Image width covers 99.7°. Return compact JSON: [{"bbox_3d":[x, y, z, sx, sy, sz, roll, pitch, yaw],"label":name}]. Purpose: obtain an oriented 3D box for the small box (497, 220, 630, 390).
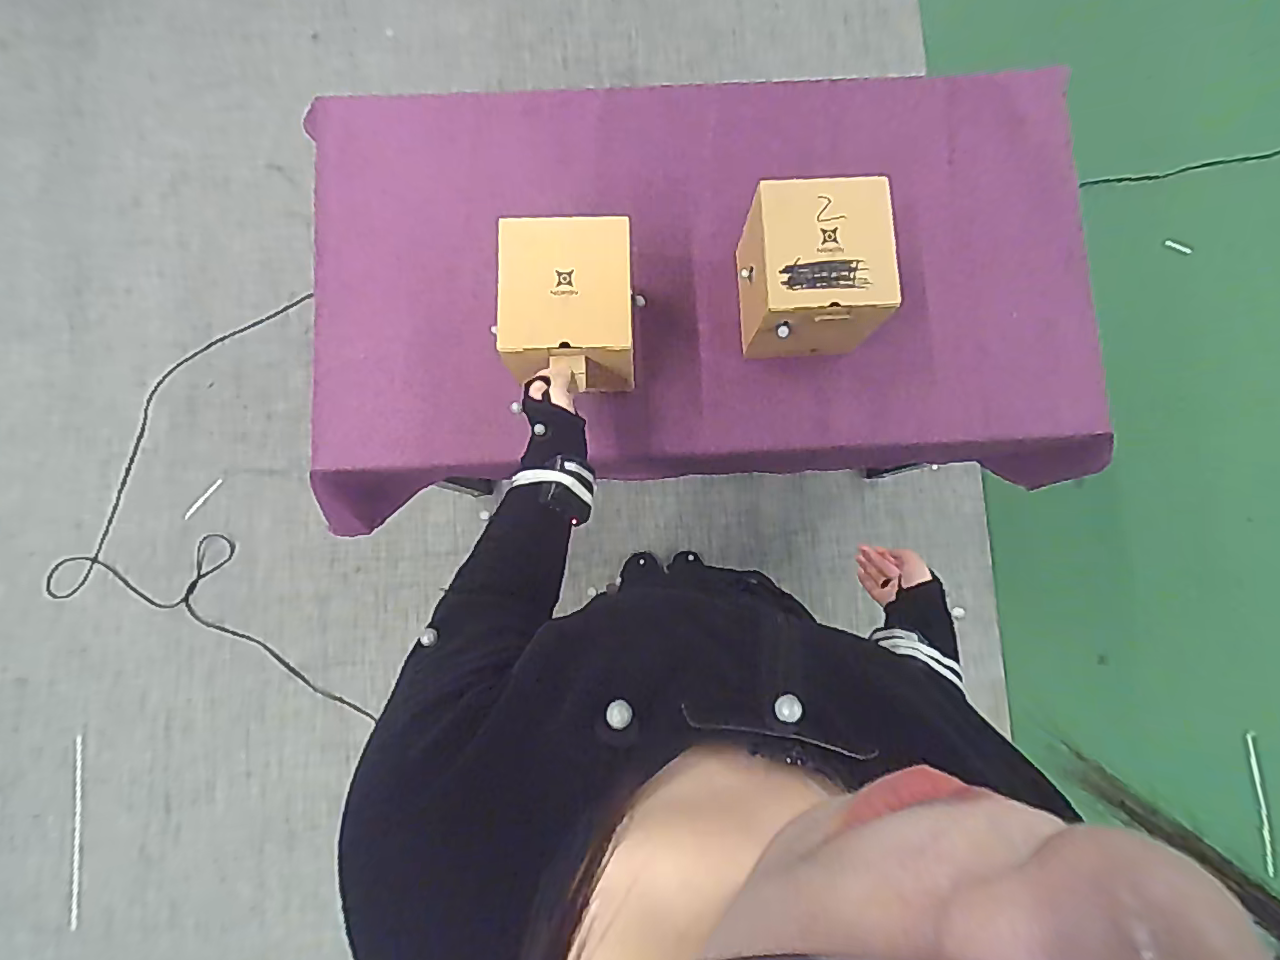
[{"bbox_3d":[-0.098,-0.237,0.761,0.168,0.176,0.179,-1,82,-1],"label":"small box"}]
